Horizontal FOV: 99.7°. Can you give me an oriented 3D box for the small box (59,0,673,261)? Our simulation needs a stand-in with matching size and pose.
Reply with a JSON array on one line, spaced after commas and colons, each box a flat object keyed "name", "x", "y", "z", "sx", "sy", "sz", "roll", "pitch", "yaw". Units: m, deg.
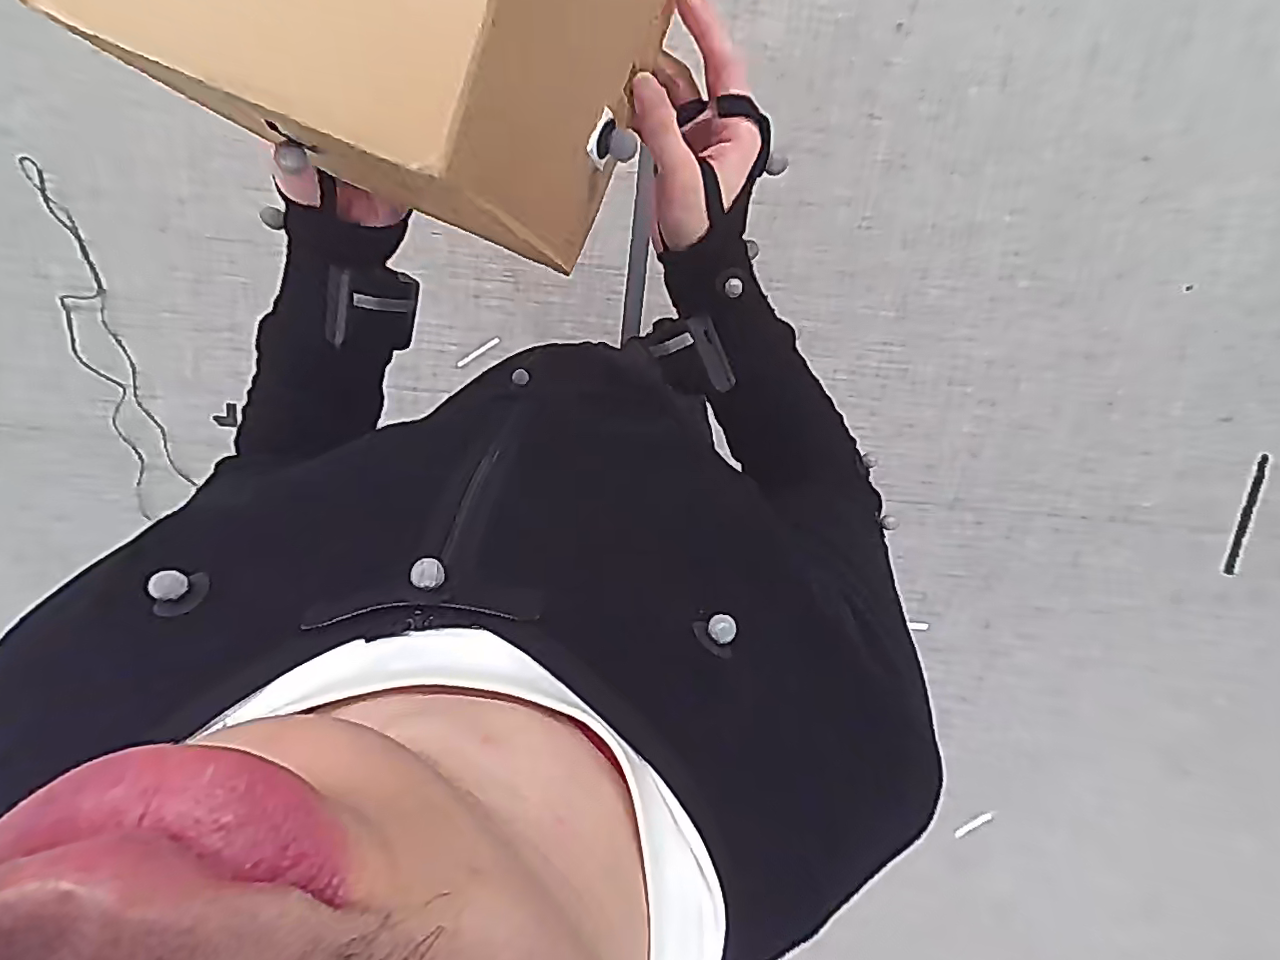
[{"name": "small box", "x": -0.098, "y": -0.226, "z": 0.259, "sx": 0.179, "sy": 0.176, "sz": 0.168, "roll": 24, "pitch": 103, "yaw": 4}]
